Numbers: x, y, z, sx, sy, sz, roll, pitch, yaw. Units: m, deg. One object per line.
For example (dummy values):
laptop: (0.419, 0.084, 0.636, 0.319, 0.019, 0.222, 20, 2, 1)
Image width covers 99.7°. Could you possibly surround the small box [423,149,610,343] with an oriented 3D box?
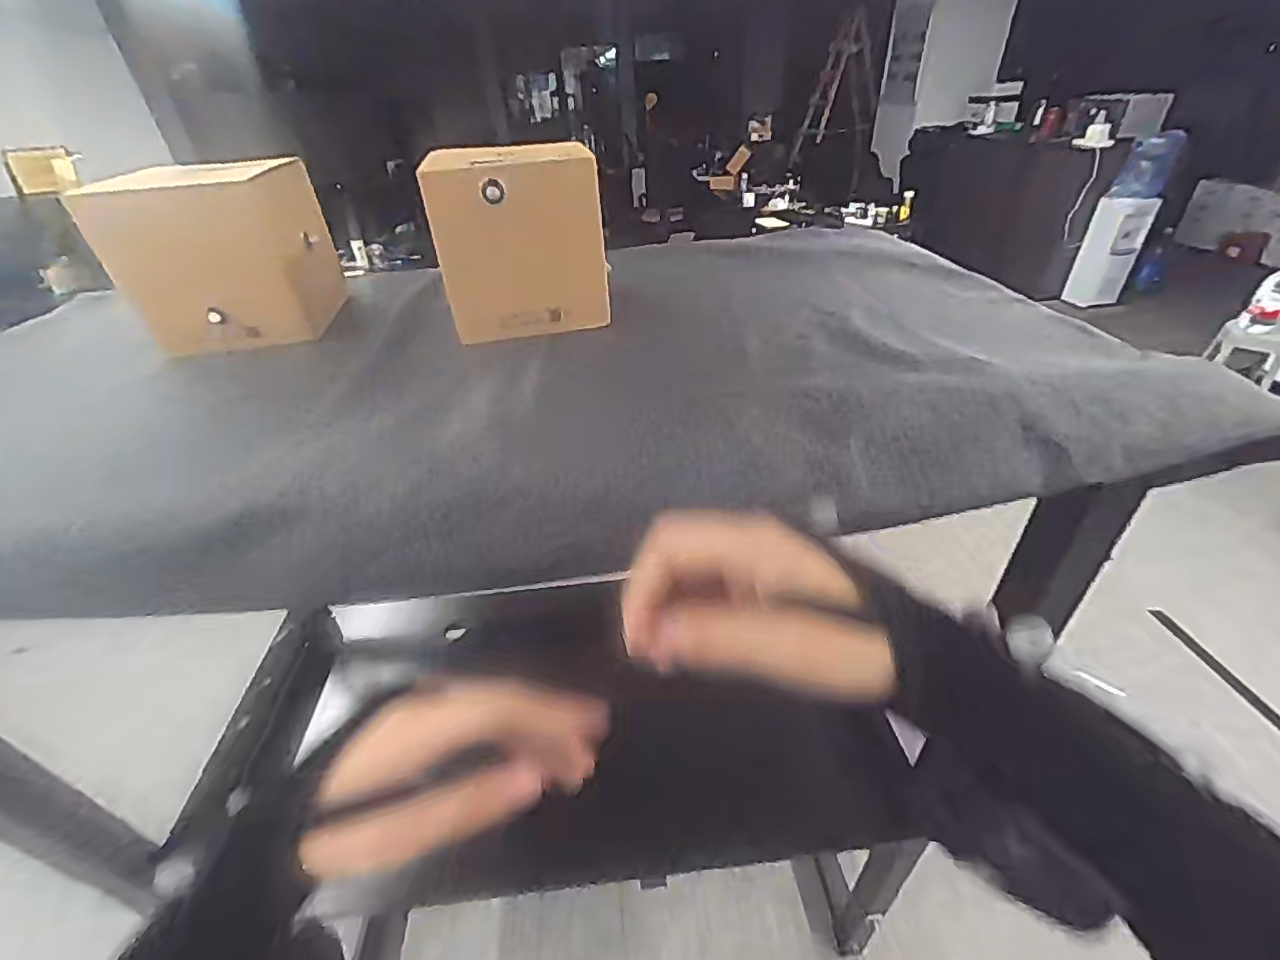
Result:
small box: (-0.131, -0.270, 0.616, 0.168, 0.176, 0.179, -10, 36, -7)
